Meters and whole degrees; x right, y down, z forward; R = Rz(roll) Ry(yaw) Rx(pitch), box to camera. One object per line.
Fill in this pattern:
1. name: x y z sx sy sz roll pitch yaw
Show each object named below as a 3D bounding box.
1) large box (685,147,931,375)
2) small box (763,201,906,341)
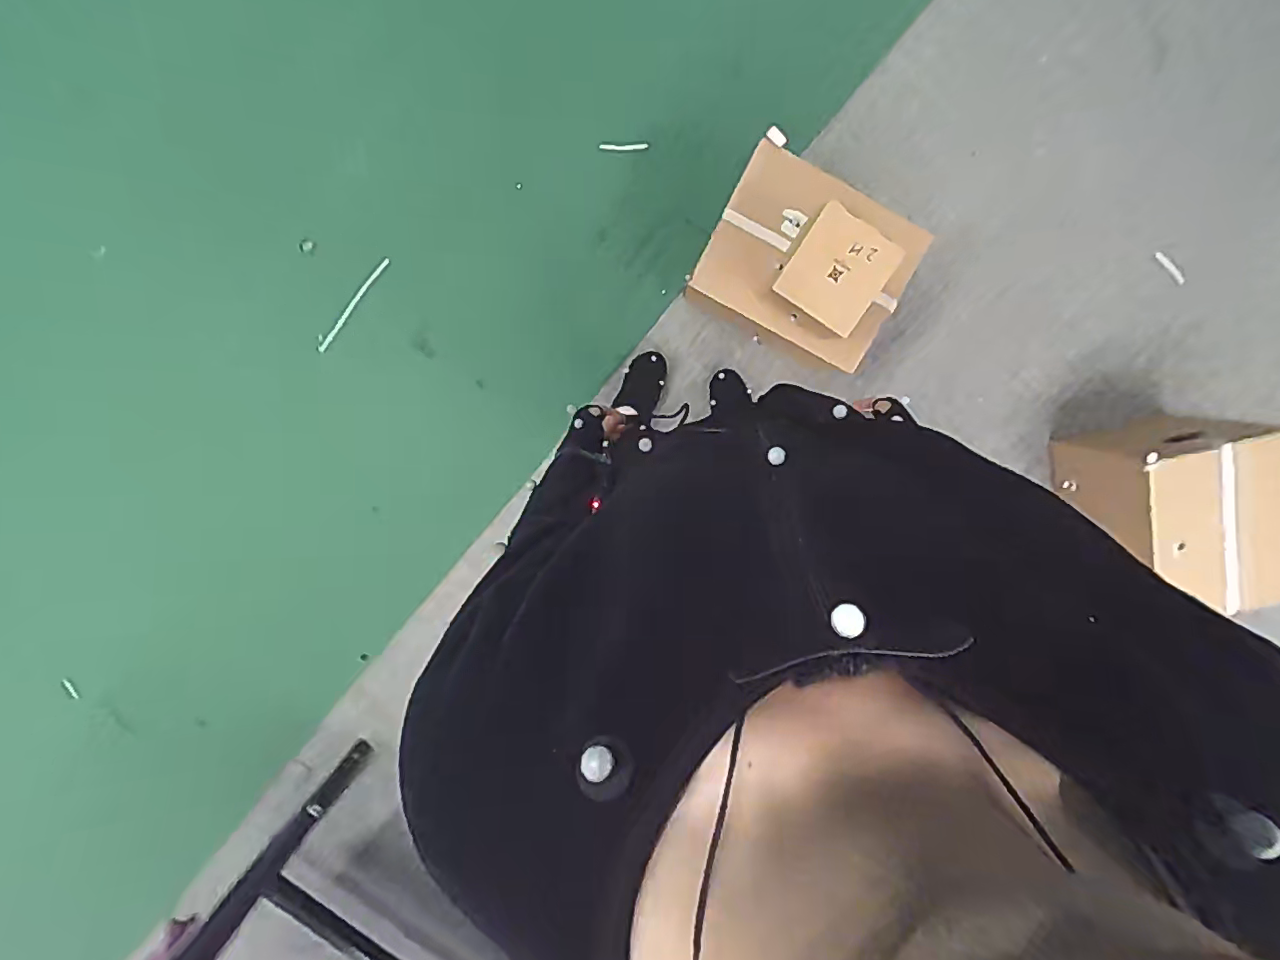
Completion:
1. large box: 0.351 -0.469 1.249 0.408 0.320 0.320 28 101 -3
2. small box: 0.350 -0.377 1.016 0.168 0.176 0.179 33 102 -6
